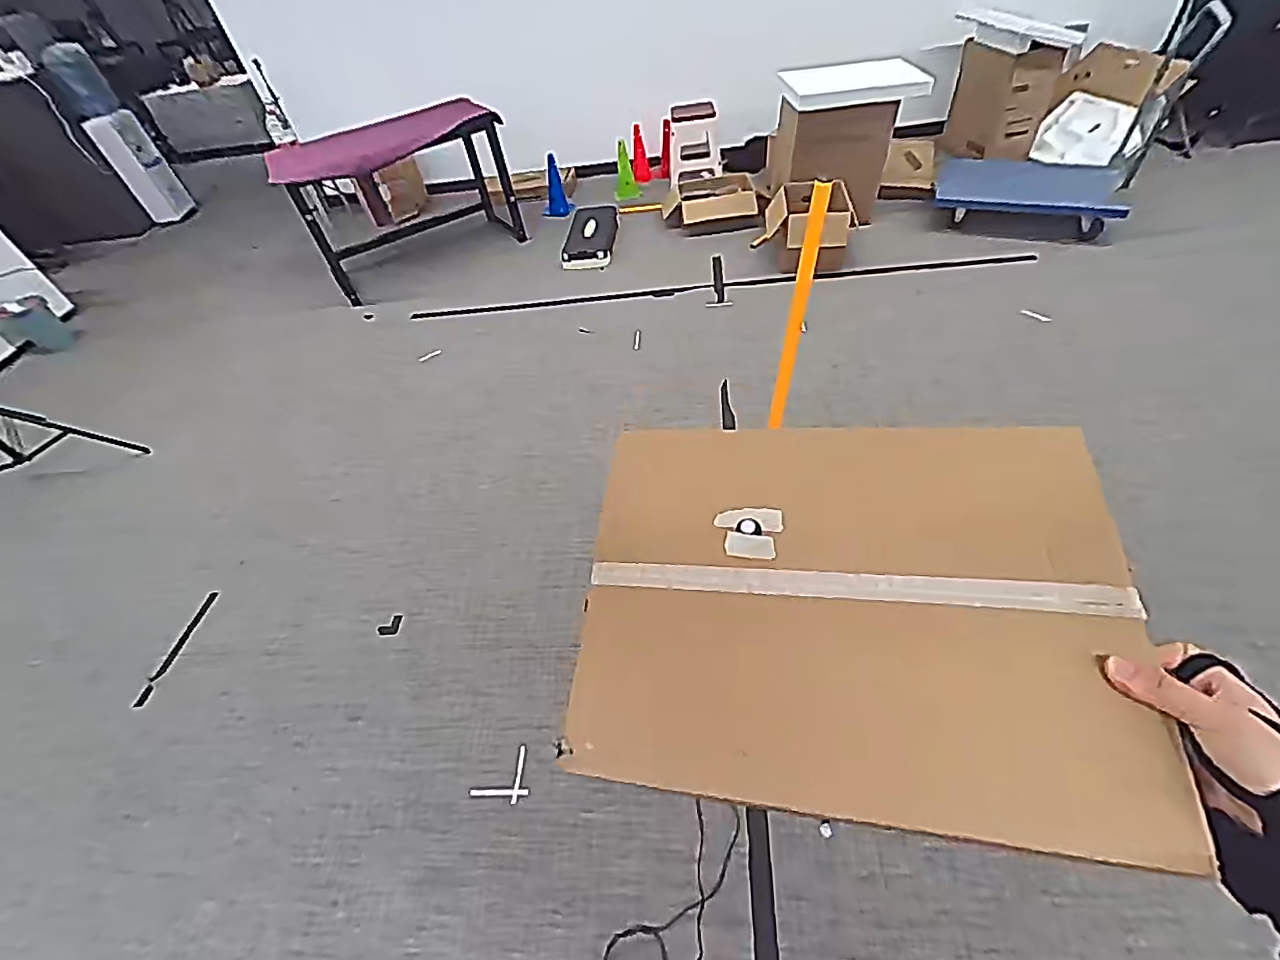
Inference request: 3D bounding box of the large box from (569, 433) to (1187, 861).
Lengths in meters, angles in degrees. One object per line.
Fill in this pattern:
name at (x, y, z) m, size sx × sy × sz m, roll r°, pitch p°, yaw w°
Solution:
large box at (0.190, 0.170, 0.565) m, size 0.408 × 0.320 × 0.320 m, roll -1°, pitch 59°, yaw 17°
